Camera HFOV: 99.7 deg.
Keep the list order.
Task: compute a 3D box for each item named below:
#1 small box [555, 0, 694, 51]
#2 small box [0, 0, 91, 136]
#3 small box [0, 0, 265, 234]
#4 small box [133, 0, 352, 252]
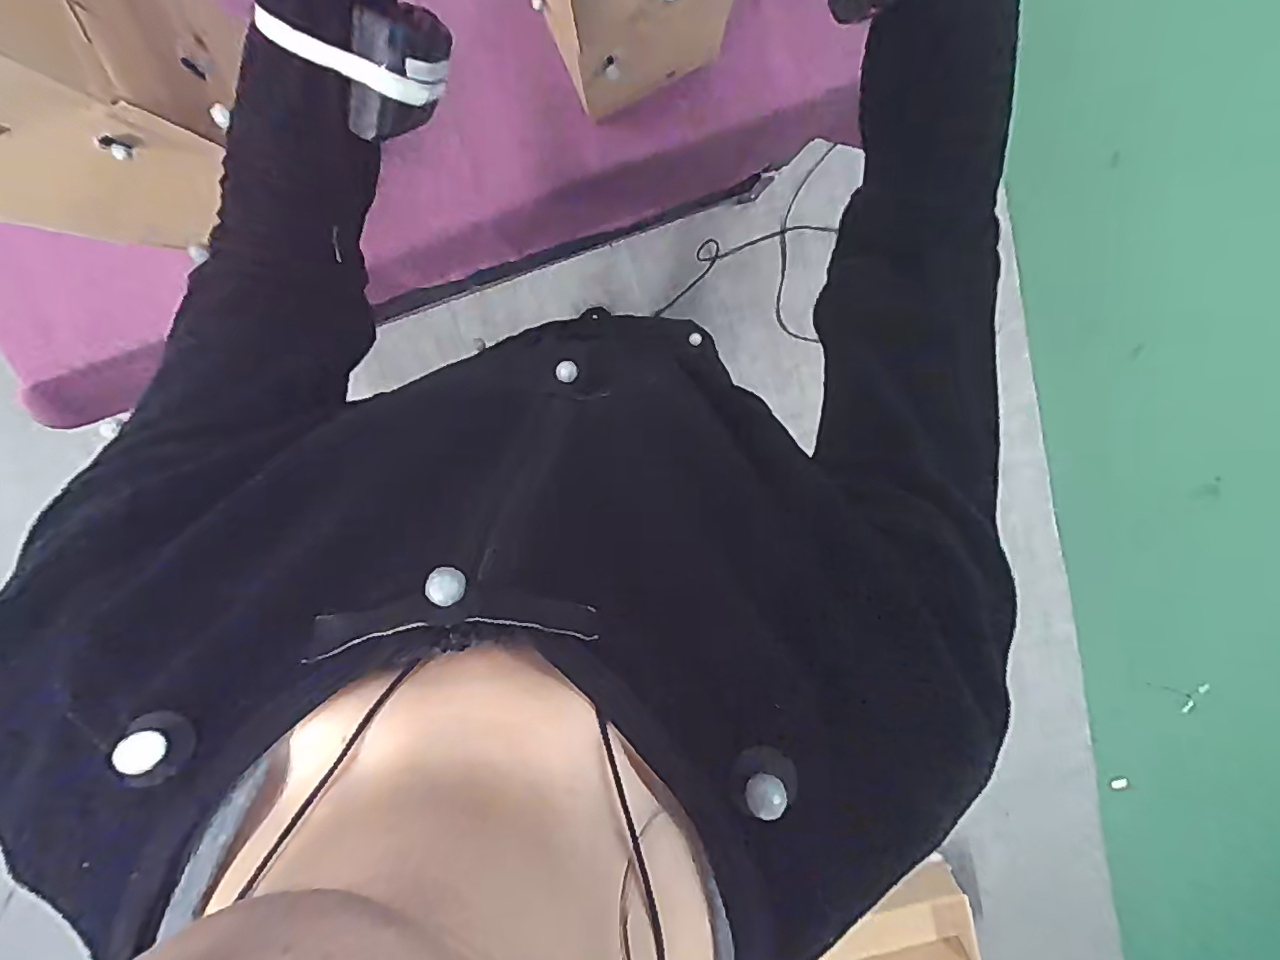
[{"bbox_3d":[-0.017,-0.469,0.384,0.168,0.176,0.179,-24,103,6],"label":"small box"},{"bbox_3d":[-0.448,-0.278,0.261,0.168,0.176,0.179,-19,103,2],"label":"small box"},{"bbox_3d":[-0.452,-0.314,0.419,0.179,0.176,0.168,-21,103,3],"label":"small box"},{"bbox_3d":[-0.455,-0.361,0.575,0.179,0.176,0.168,-21,104,5],"label":"small box"}]
